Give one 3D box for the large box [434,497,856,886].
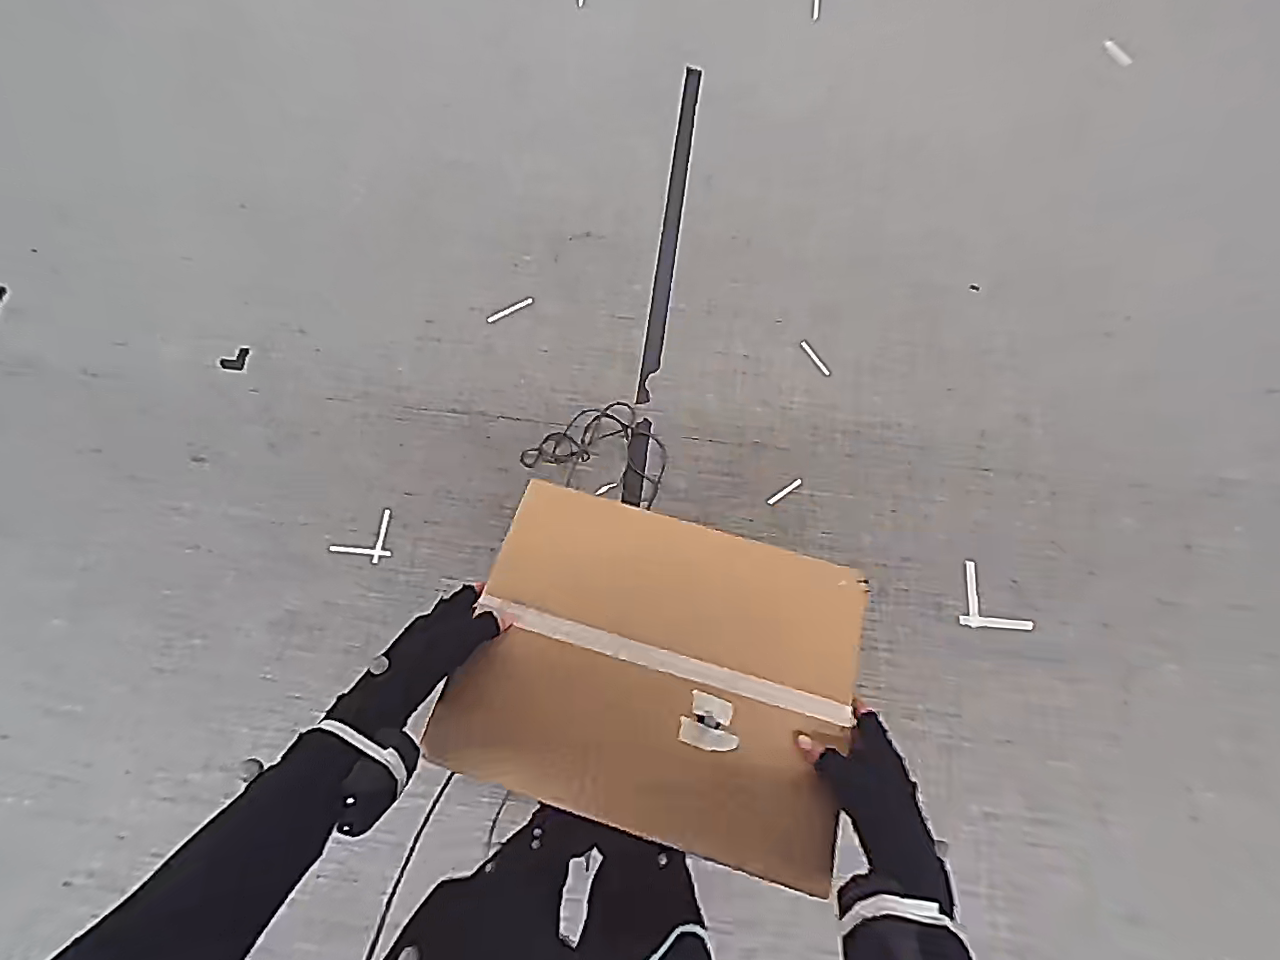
[{"bbox_3d":[0.016,0.264,0.721,0.408,0.320,0.320,16,66,6],"label":"large box"}]
